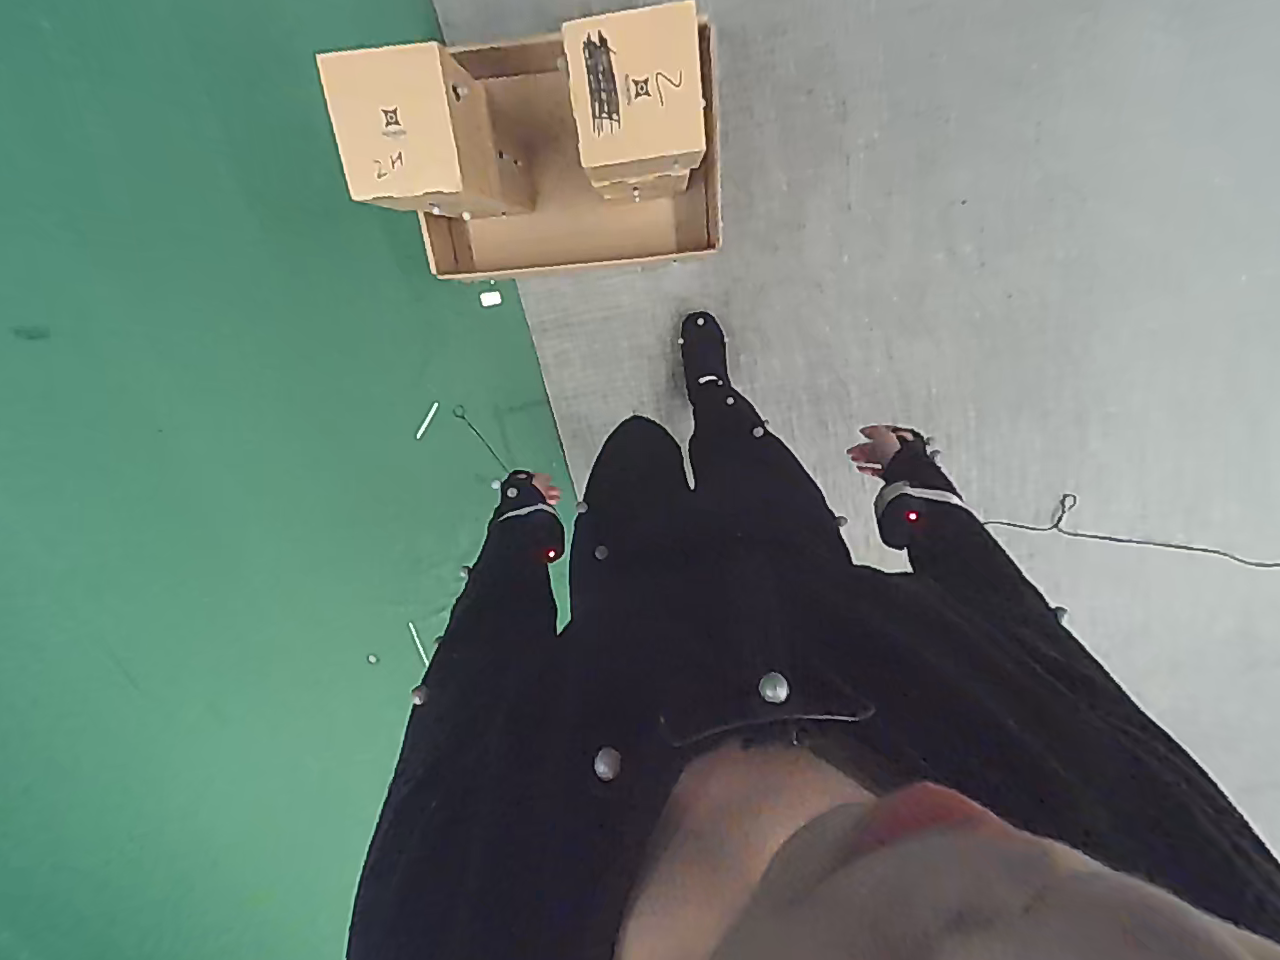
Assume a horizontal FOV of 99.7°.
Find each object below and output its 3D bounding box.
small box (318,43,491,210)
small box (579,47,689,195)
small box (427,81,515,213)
[{"bbox_3d":[-0.336,-0.514,0.809,0.168,0.176,0.179,-3,113,3],"label":"small box"},{"bbox_3d":[-0.005,-0.607,0.935,0.168,0.176,0.179,-4,113,5],"label":"small box"},{"bbox_3d":[-0.329,-0.579,0.960,0.168,0.176,0.179,-1,113,2],"label":"small box"}]
